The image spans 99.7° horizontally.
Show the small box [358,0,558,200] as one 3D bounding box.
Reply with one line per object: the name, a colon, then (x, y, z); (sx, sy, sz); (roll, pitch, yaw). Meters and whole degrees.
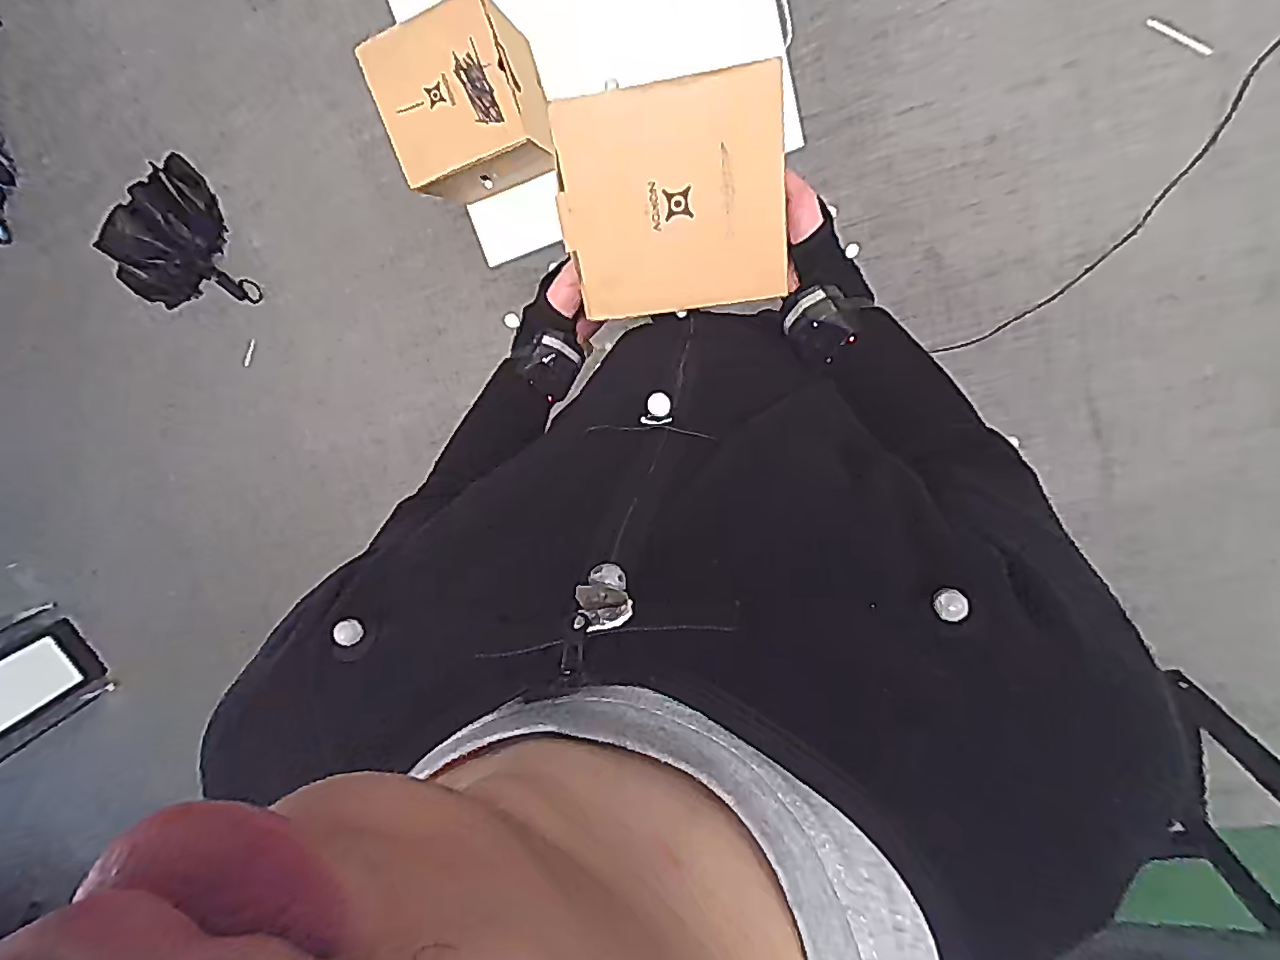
small box: (-0.225, -0.499, 0.729); (0.179, 0.176, 0.168); (-13, 108, 15)
